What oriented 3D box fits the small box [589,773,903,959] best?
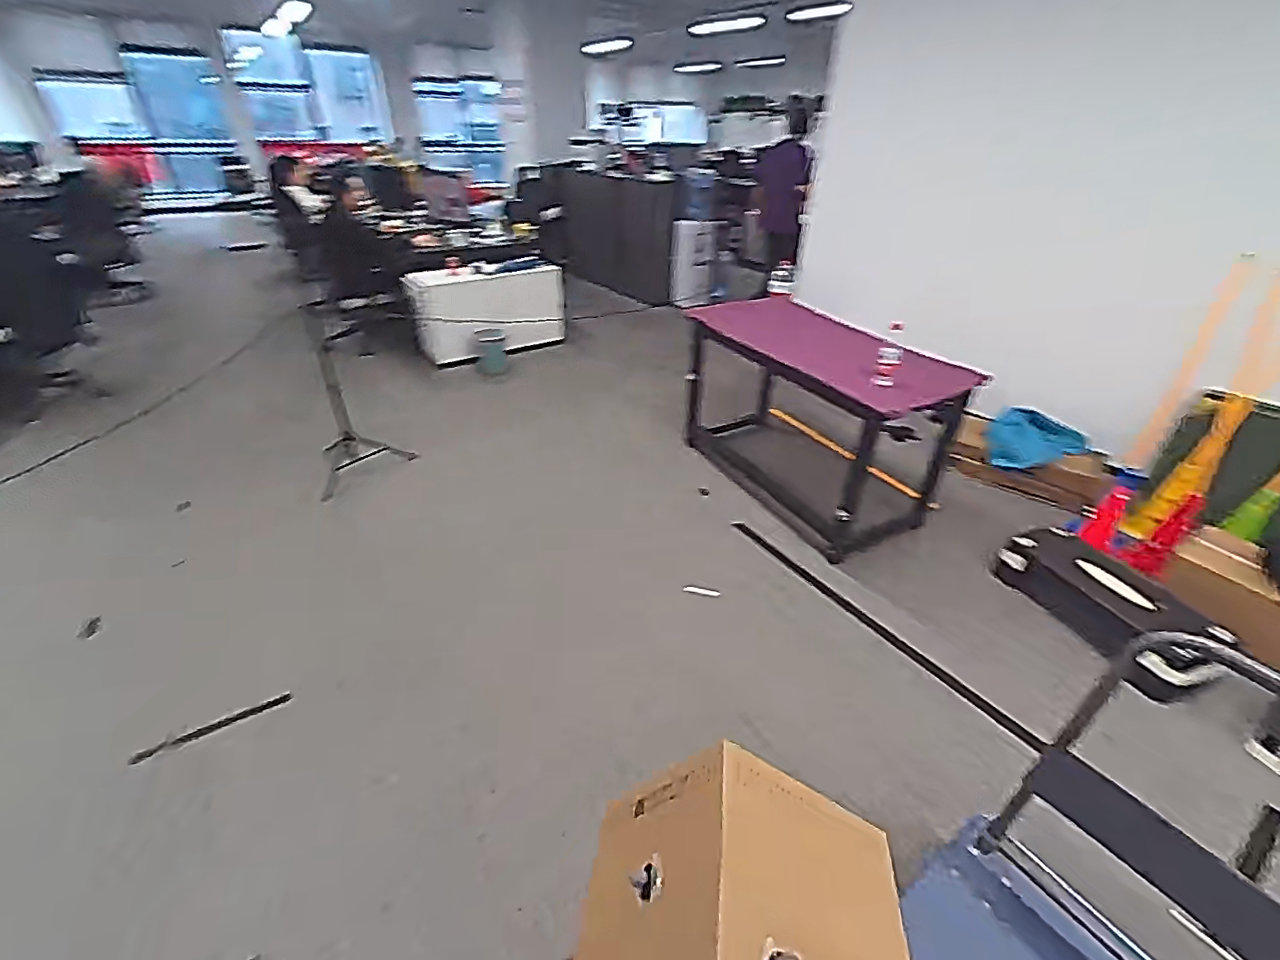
[{"bbox_3d":[0.070,0.345,0.397,0.179,0.168,0.176,34,33,-13],"label":"small box"}]
